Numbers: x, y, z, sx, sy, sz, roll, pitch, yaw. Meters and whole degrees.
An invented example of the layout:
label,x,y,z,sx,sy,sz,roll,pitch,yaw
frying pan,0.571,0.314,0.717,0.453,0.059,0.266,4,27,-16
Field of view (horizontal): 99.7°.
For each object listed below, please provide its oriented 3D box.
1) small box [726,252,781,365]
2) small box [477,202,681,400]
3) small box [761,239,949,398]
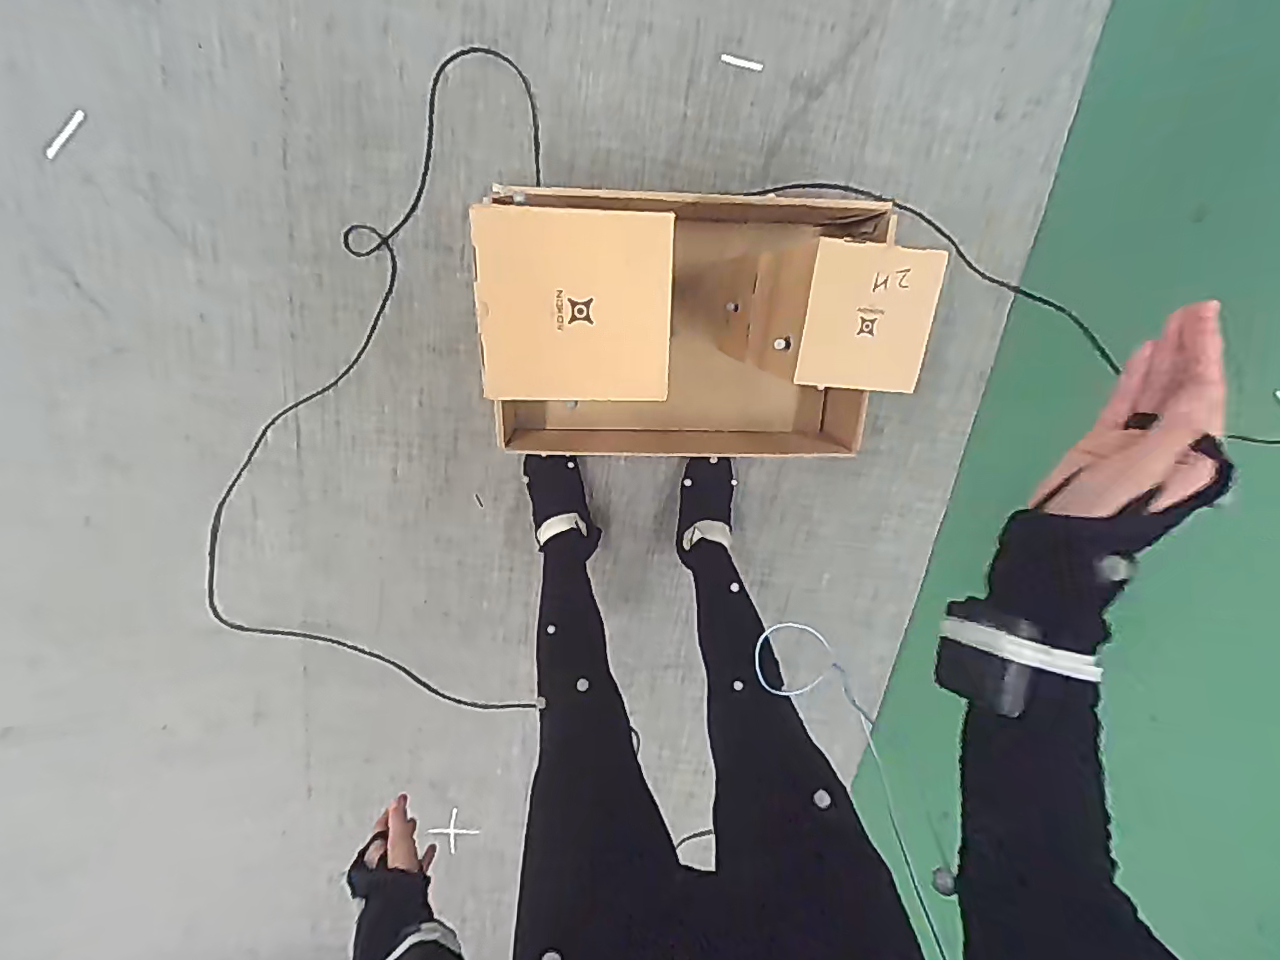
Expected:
label,x,y,z,sx,sy,sz,roll,pitch,yaw
small box,0.250,-0.274,0.900,0.179,0.176,0.168,5,108,-6
small box,-0.059,-0.183,0.560,0.179,0.176,0.168,1,110,-4
small box,0.278,-0.220,0.745,0.168,0.176,0.179,4,107,-7
